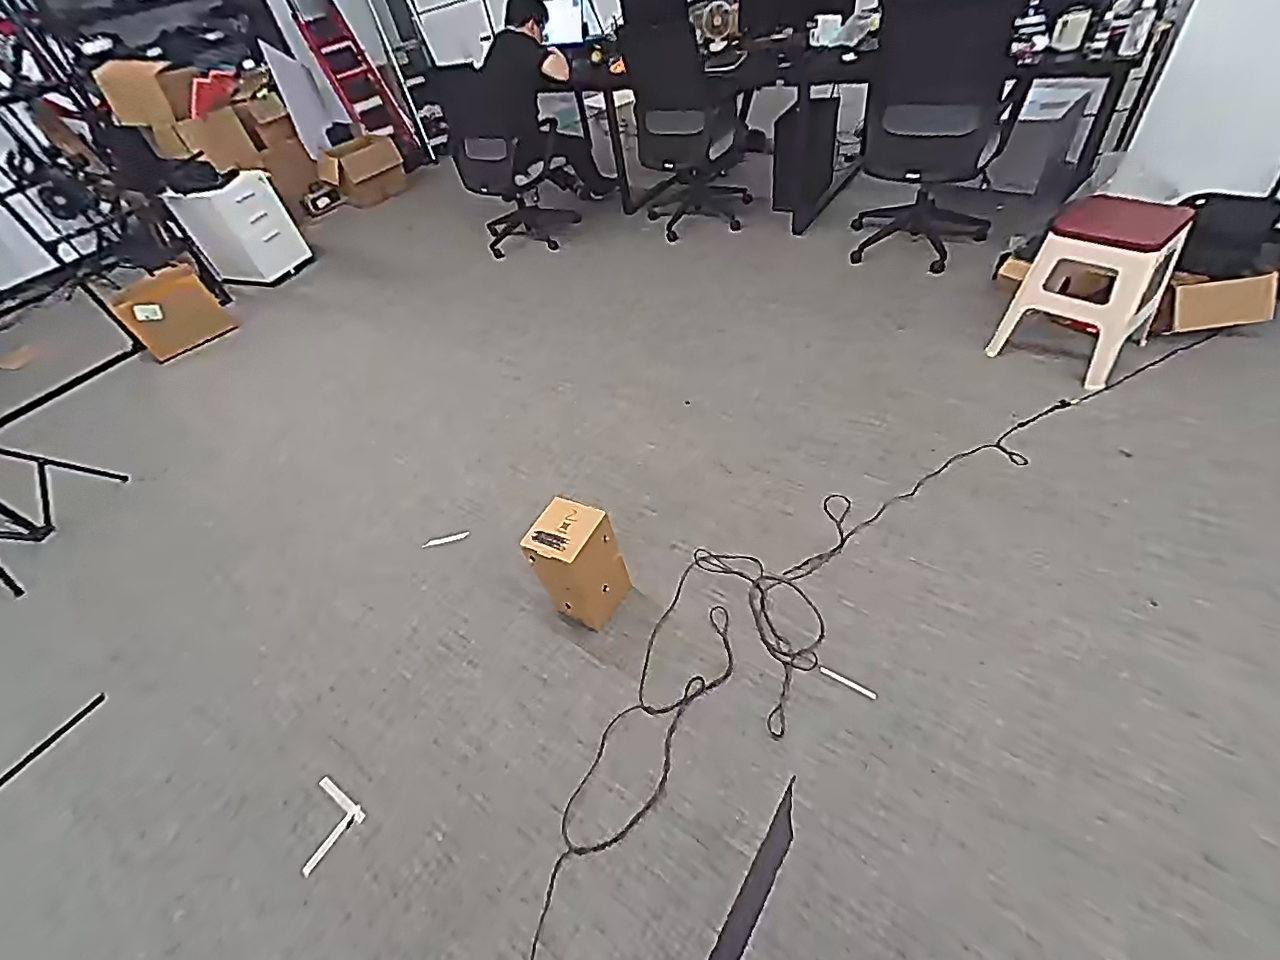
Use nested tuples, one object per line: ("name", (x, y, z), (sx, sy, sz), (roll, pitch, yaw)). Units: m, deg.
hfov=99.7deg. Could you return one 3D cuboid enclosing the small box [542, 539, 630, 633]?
("small box", (-0.146, 0.306, 1.549), (0.168, 0.176, 0.179), (20, 54, 29))
